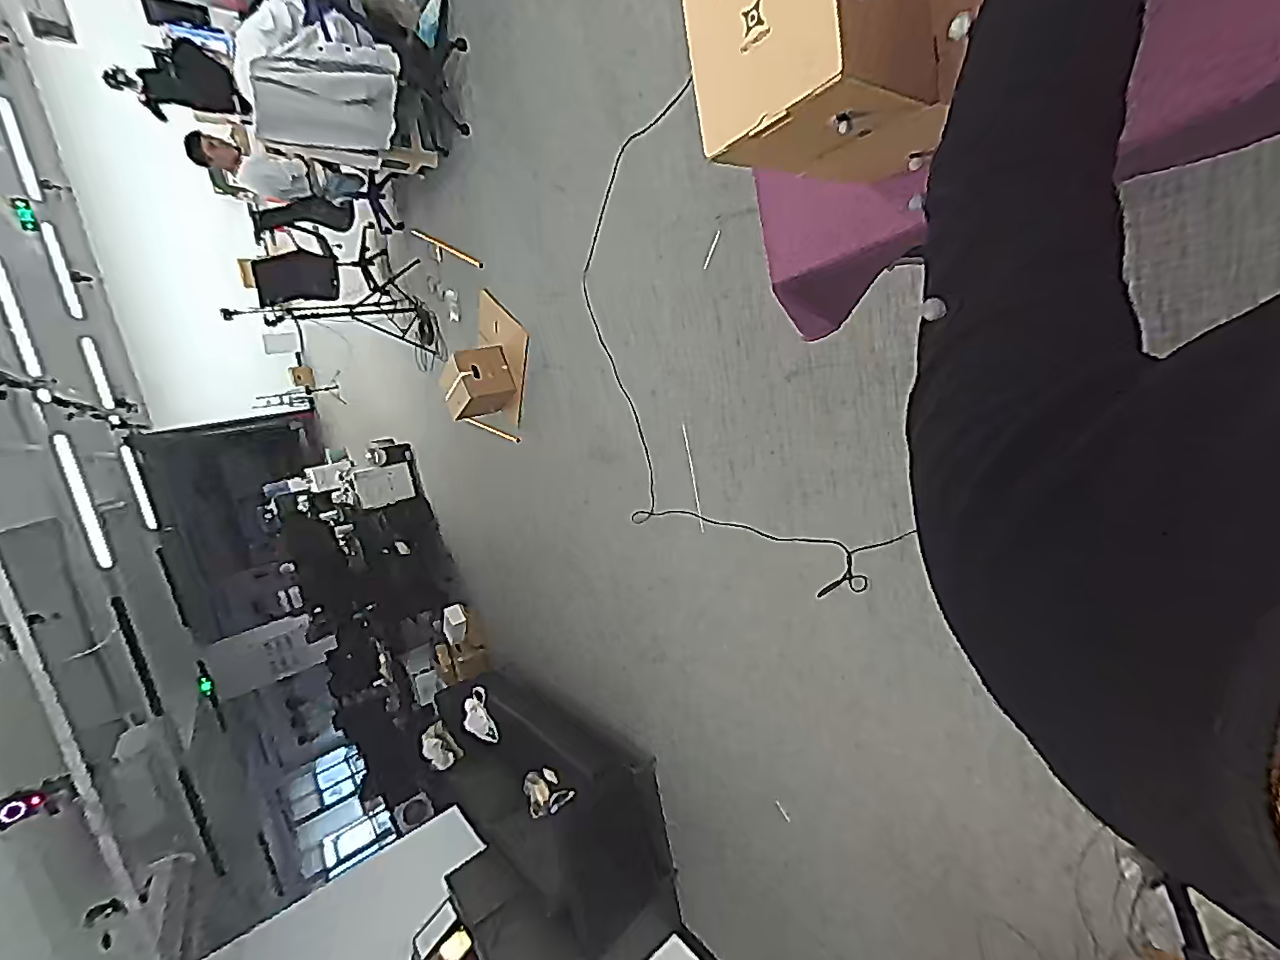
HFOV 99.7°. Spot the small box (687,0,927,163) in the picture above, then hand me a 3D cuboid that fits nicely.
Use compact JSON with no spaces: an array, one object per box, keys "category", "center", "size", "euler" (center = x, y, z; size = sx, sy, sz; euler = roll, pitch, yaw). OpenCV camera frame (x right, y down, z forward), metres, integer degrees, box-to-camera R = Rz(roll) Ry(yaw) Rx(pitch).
[{"category":"small box","center":[0.172,-0.447,0.553],"size":[0.168,0.176,0.179],"euler":[4,107,53]}]

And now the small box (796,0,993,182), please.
[{"category":"small box","center":[0.300,-0.481,0.650],"size":[0.179,0.176,0.168],"euler":[2,105,53]}]
